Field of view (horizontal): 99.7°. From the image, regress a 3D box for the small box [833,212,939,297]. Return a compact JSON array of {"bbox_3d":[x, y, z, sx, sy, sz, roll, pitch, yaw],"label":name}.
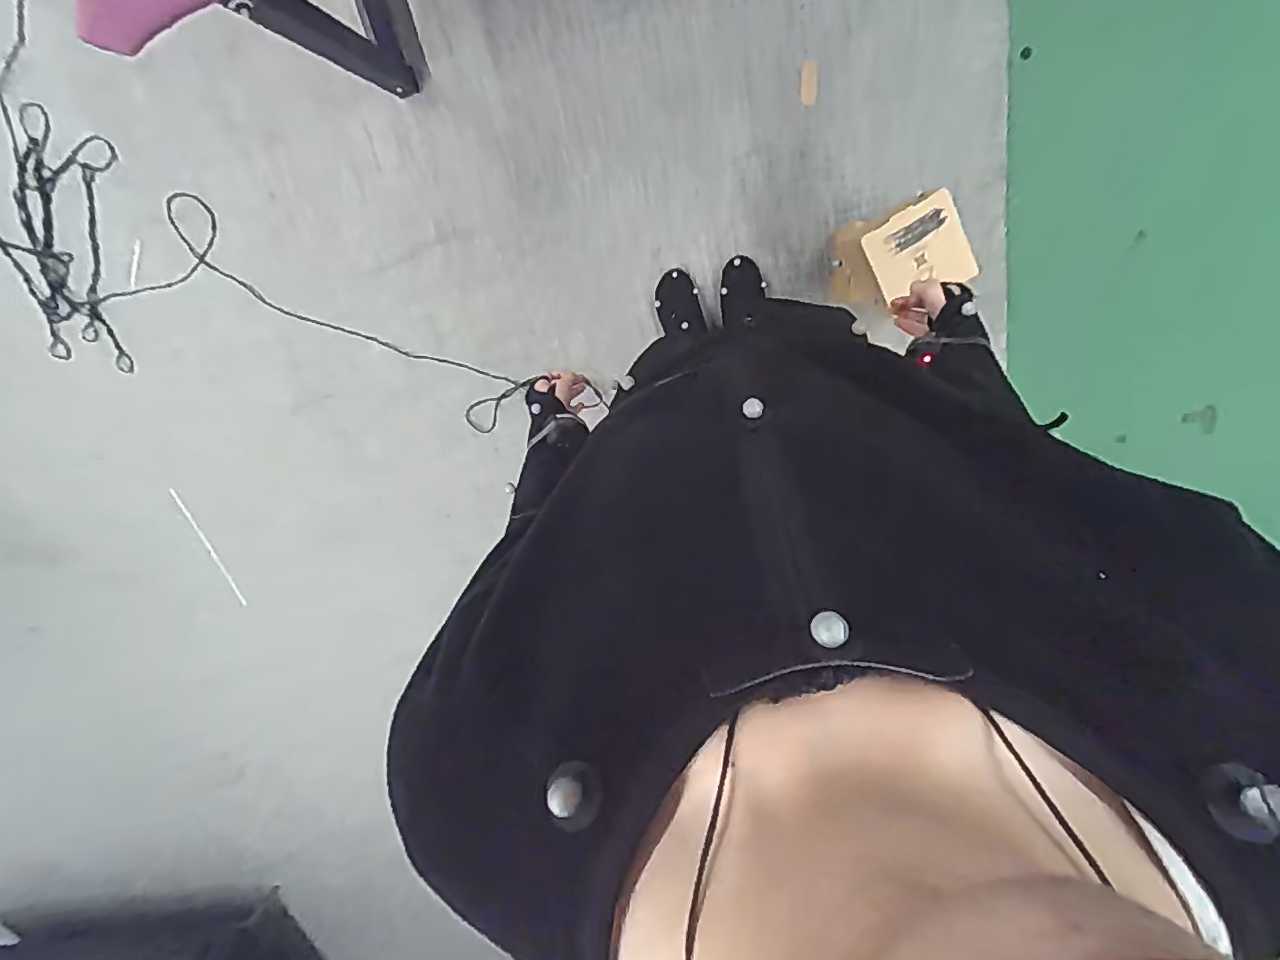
[{"bbox_3d":[0.547,-0.509,1.230,0.179,0.176,0.168,-1,113,7],"label":"small box"}]
